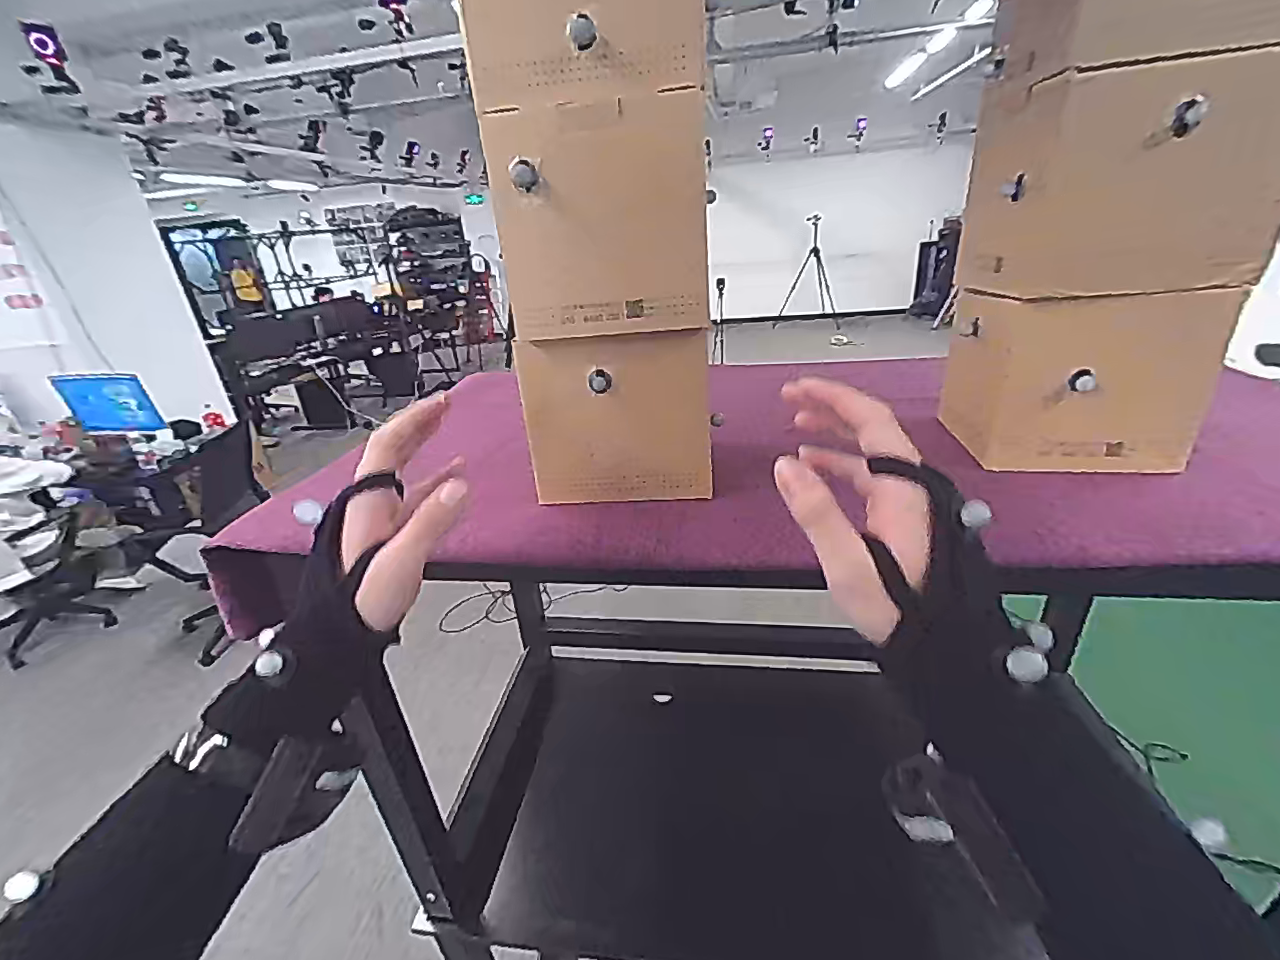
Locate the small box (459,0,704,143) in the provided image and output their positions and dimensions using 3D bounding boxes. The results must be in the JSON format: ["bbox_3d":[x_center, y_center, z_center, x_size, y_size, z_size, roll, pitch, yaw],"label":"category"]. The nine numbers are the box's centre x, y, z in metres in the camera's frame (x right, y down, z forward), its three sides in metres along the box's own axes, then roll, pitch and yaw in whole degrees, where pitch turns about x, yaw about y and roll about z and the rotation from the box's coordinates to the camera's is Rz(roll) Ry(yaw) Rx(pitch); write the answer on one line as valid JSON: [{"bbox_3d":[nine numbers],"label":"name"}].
[{"bbox_3d":[-0.037,-0.385,0.438,0.179,0.176,0.168,-2,24,5],"label":"small box"}]

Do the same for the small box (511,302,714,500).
[{"bbox_3d":[-0.015,-0.086,0.570,0.179,0.176,0.168,-2,25,6],"label":"small box"}]

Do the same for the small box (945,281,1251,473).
[{"bbox_3d":[0.432,-0.113,0.551,0.168,0.176,0.179,1,24,13],"label":"small box"}]

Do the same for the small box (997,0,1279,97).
[{"bbox_3d":[0.407,-0.412,0.421,0.179,0.176,0.168,1,25,11],"label":"small box"}]

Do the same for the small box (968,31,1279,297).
[{"bbox_3d":[0.415,-0.258,0.478,0.179,0.176,0.168,0,25,10],"label":"small box"}]
